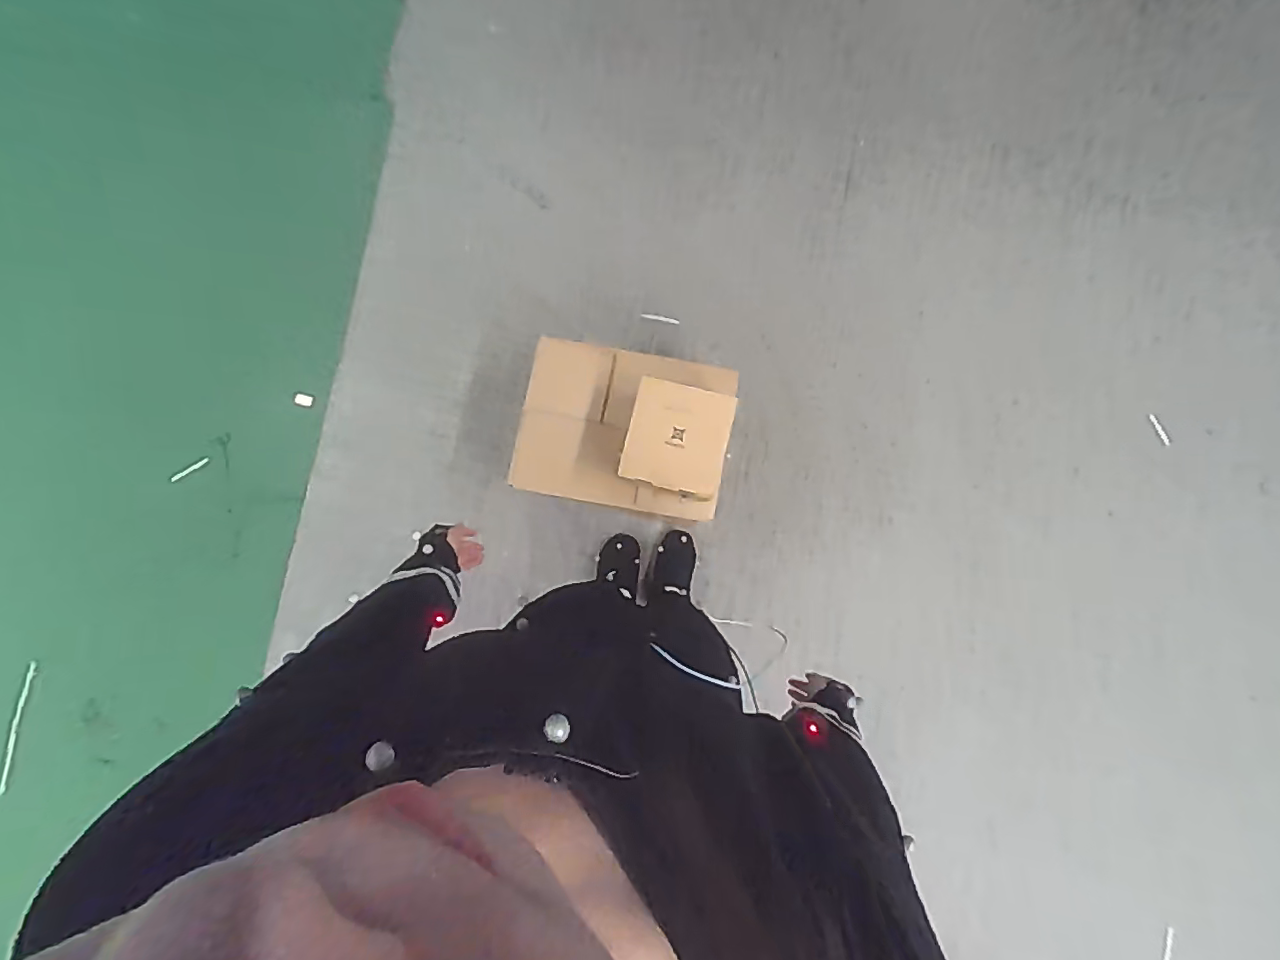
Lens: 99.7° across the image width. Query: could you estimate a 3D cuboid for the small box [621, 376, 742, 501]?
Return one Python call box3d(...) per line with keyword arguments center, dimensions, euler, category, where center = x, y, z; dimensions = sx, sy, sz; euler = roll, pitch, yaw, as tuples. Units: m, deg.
box3d(center=(0.072, -0.064, 0.964), dimensions=(0.168, 0.176, 0.179), euler=(14, 86, 3), category="small box")
